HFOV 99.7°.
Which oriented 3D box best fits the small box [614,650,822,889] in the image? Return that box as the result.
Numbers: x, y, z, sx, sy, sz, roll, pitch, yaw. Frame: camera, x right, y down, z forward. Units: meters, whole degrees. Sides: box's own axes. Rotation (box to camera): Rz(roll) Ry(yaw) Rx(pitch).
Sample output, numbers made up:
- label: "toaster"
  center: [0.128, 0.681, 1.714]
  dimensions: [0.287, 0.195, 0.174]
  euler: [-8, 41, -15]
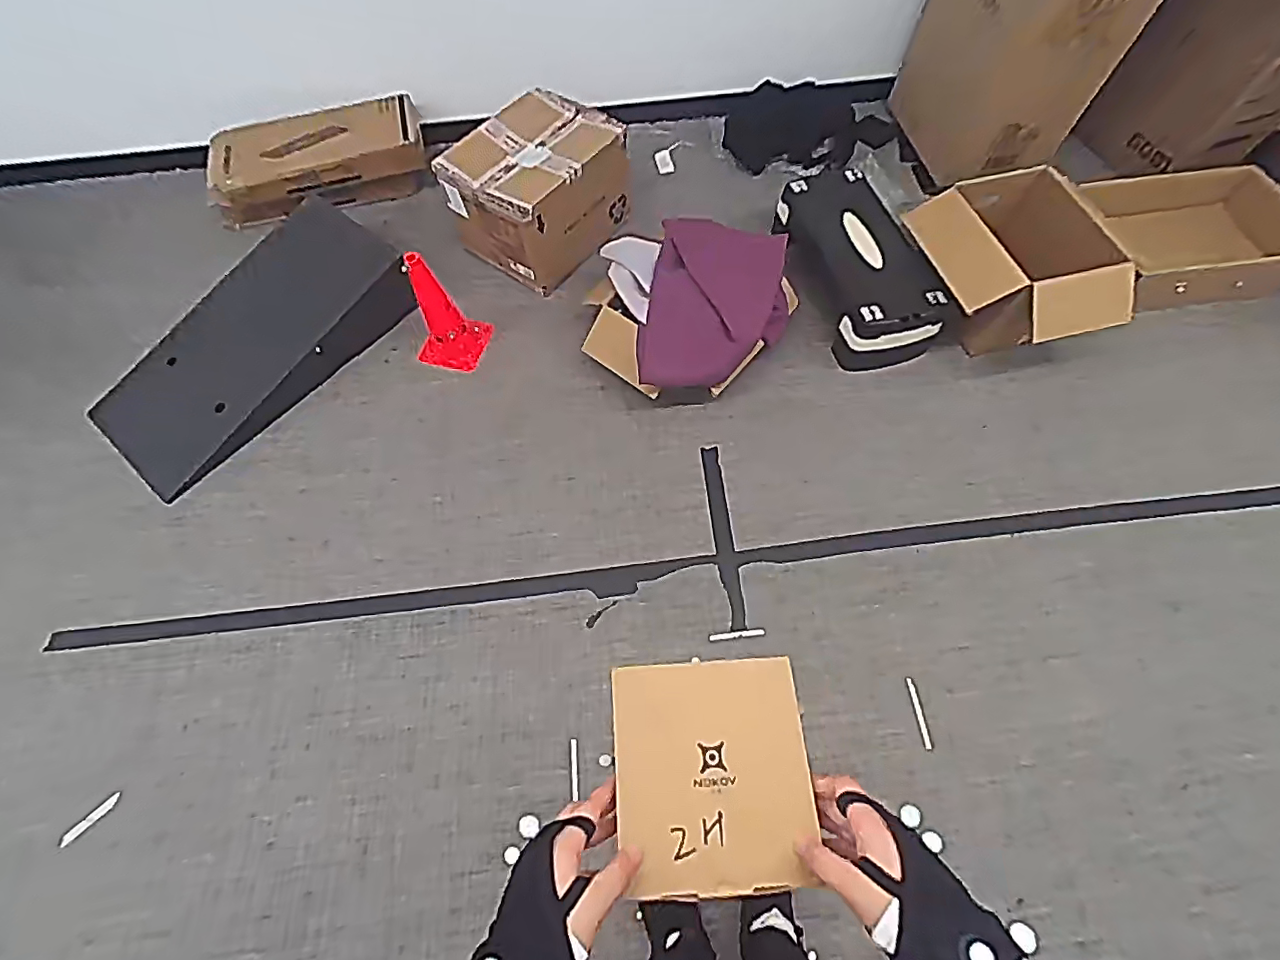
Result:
- label: "small box"
  center: [0.058, 0.276, 0.536]
  dimensions: [0.168, 0.176, 0.179]
  euler: [-3, 64, -2]
